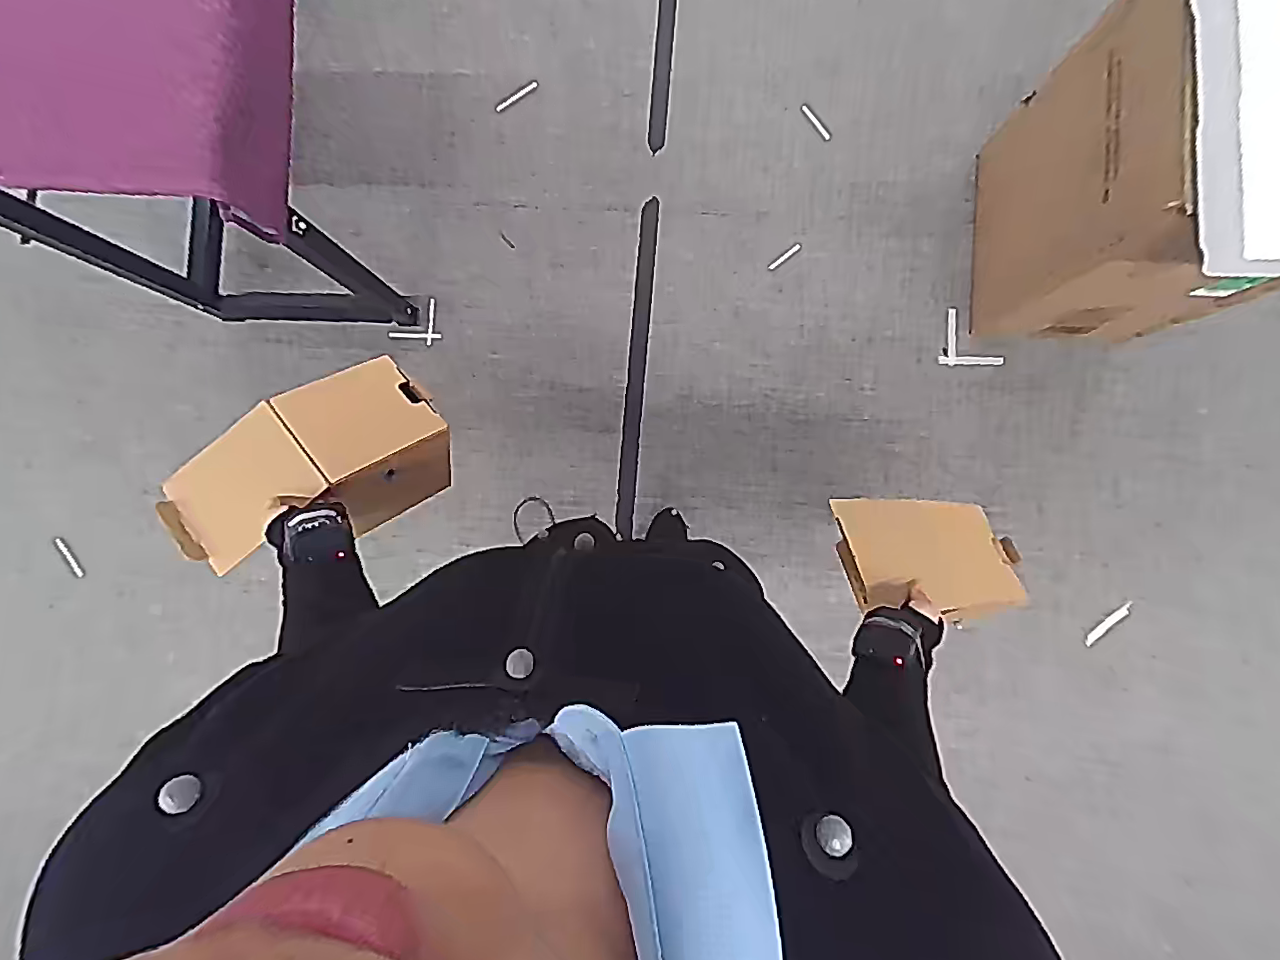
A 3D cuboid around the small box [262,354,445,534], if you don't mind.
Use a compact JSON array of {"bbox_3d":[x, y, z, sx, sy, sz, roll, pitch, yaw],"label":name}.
[{"bbox_3d":[-0.410,-0.049,0.806,0.179,0.176,0.168,-35,75,-32],"label":"small box"}]
